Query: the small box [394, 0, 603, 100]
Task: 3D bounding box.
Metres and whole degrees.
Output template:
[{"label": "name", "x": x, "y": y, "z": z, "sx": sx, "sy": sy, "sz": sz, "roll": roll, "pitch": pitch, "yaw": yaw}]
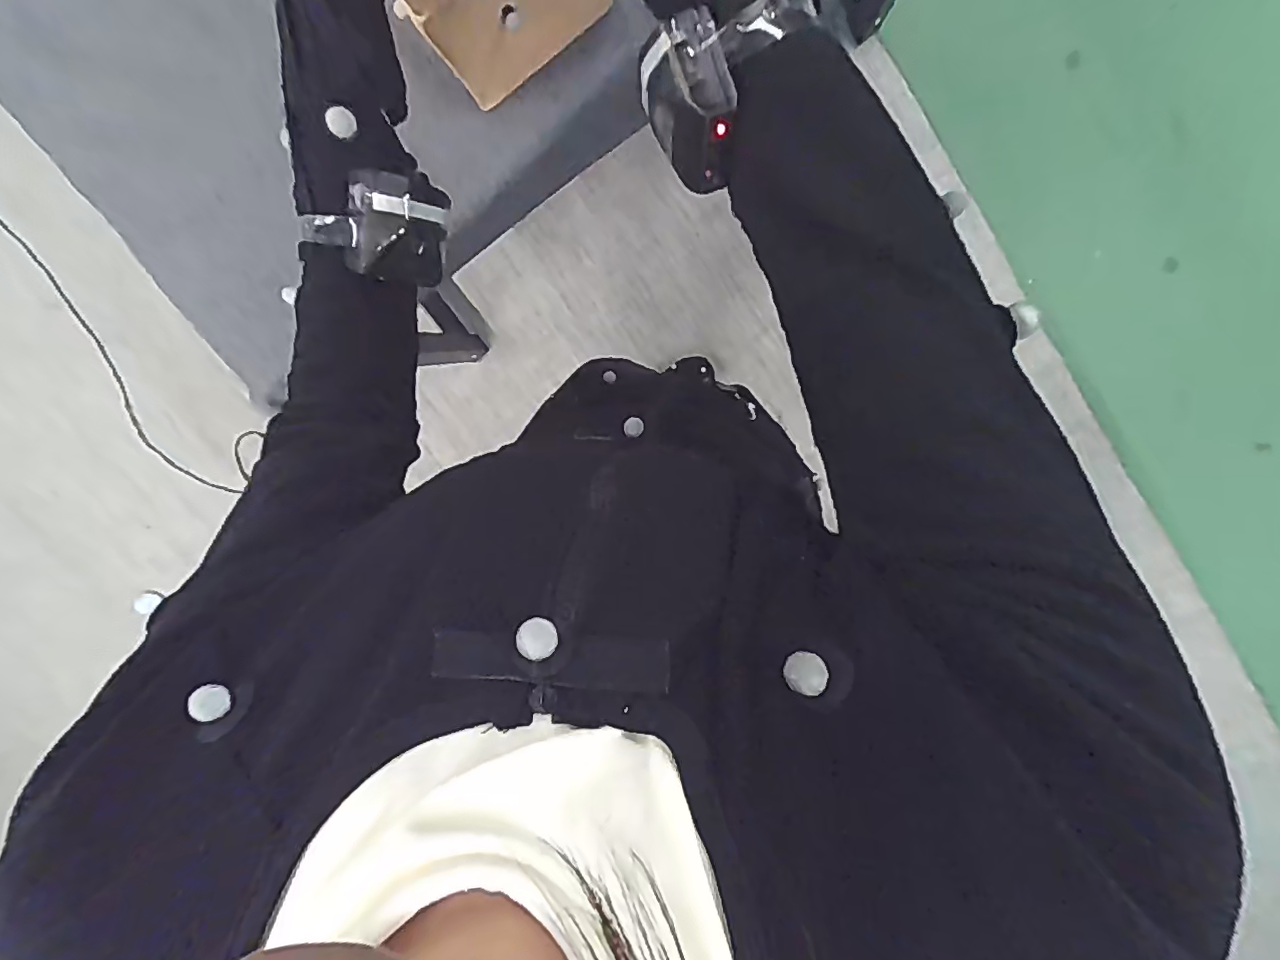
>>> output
[{"label": "small box", "x": -0.151, "y": -0.504, "z": 0.495, "sx": 0.179, "sy": 0.176, "sz": 0.168, "roll": -32, "pitch": 98, "yaw": 13}]
